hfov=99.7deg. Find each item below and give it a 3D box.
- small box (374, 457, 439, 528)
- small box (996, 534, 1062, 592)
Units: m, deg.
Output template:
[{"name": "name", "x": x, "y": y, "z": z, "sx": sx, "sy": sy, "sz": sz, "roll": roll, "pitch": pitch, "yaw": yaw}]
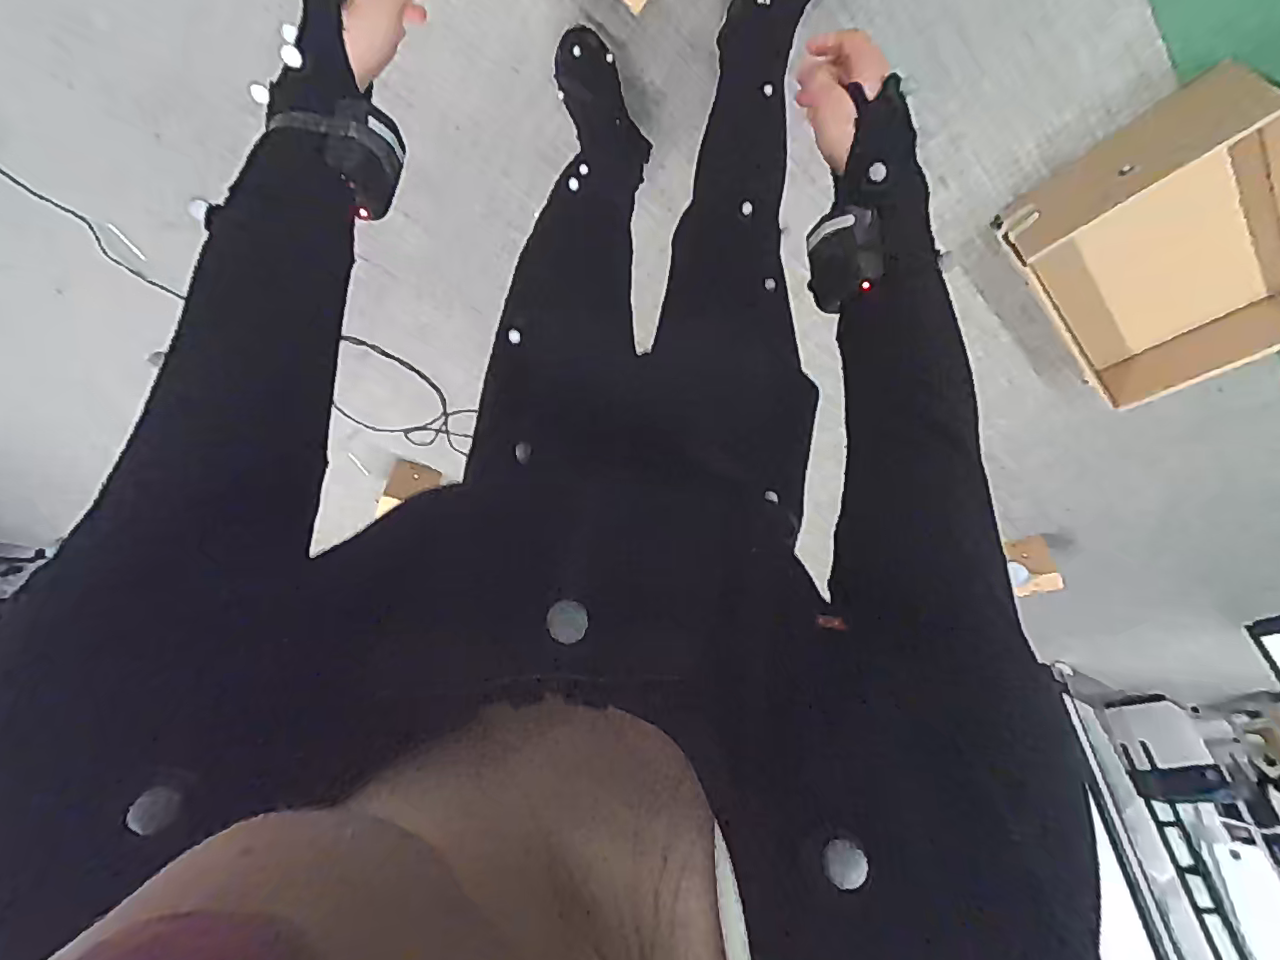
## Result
[{"name": "small box", "x": -0.854, "y": 0.045, "z": 1.984, "sx": 0.168, "sy": 0.176, "sz": 0.179, "roll": 21, "pitch": 140, "yaw": -23}, {"name": "small box", "x": 1.596, "y": 0.336, "z": 2.221, "sx": 0.168, "sy": 0.176, "sz": 0.179, "roll": -23, "pitch": 137, "yaw": 31}]
